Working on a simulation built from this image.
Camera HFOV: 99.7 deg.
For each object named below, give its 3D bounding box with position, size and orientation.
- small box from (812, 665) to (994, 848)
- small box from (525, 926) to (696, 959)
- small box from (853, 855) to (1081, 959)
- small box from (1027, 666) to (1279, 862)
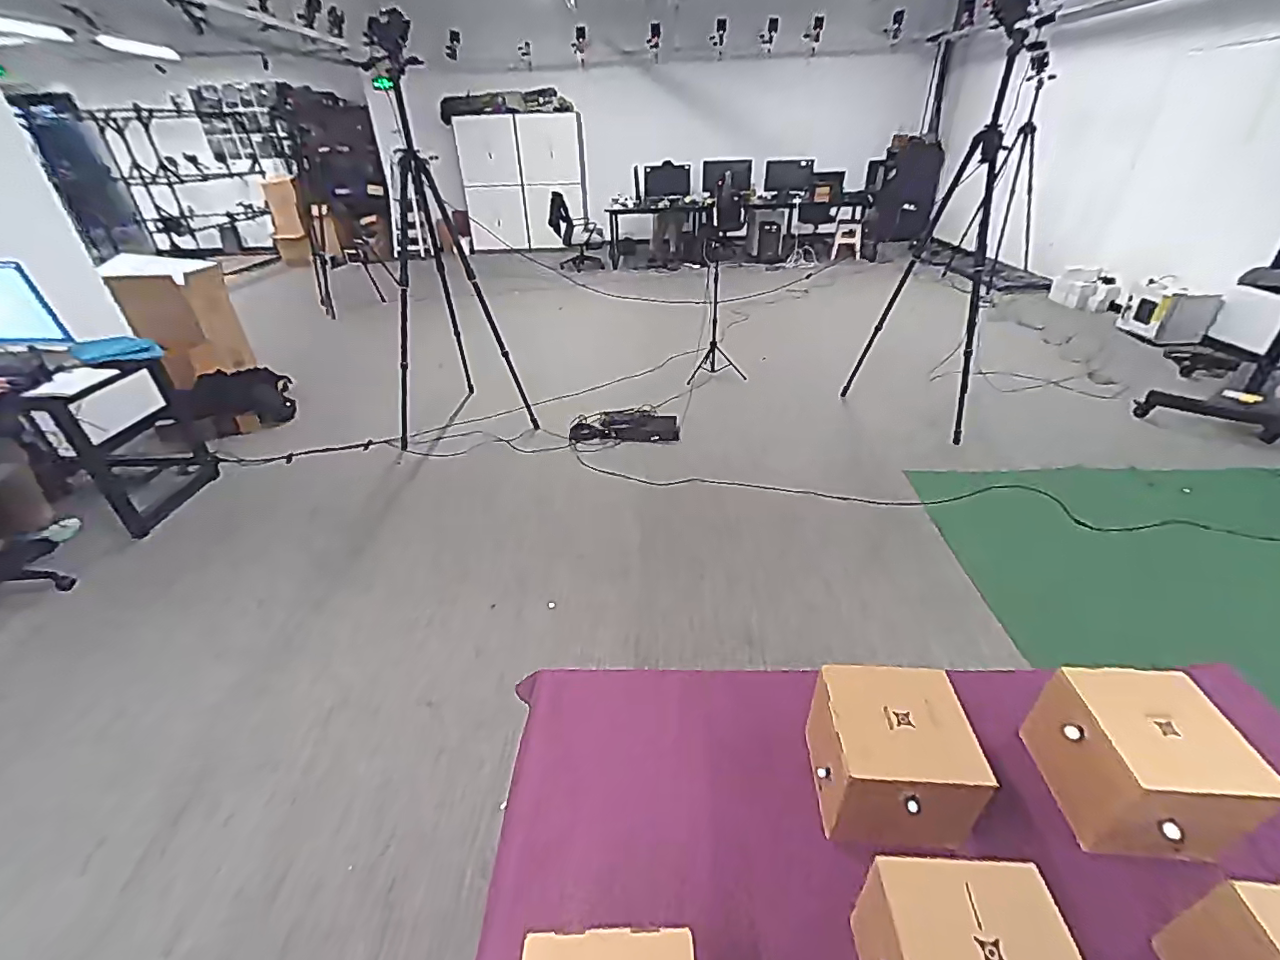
[{"bbox_3d":[0.343,0.381,0.750,0.179,0.176,0.168,1,33,5],"label":"small box"},{"bbox_3d":[-0.027,0.555,0.499,0.168,0.176,0.179,-2,31,0],"label":"small box"},{"bbox_3d":[0.327,0.513,0.539,0.168,0.176,0.179,0,31,4],"label":"small box"},{"bbox_3d":[0.669,0.378,0.727,0.168,0.176,0.179,1,32,6],"label":"small box"}]
